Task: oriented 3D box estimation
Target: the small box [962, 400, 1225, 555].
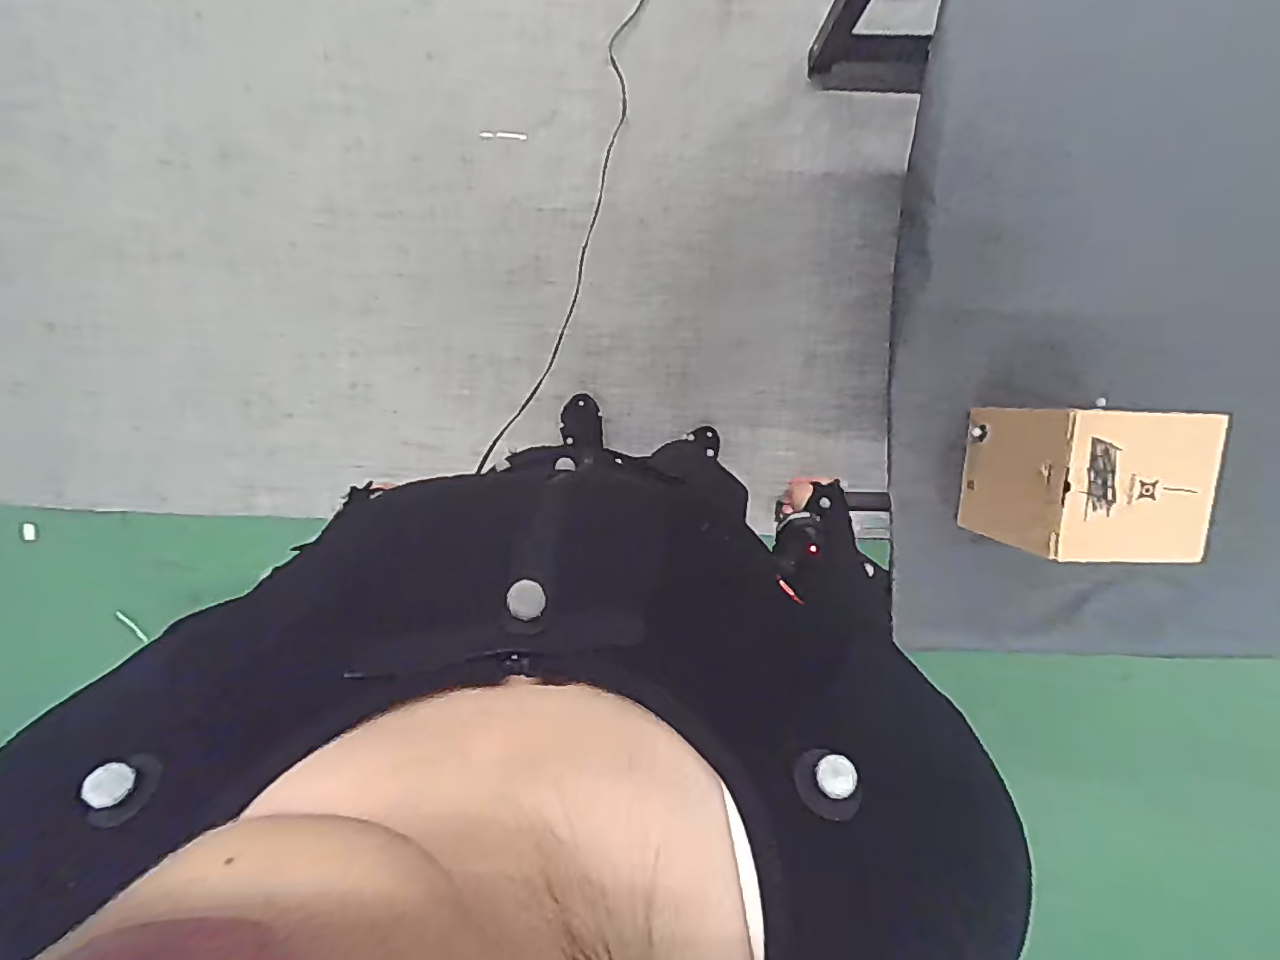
[{"bbox_3d":[0.531,-0.012,0.662,0.179,0.176,0.168,1,98,-4],"label":"small box"}]
